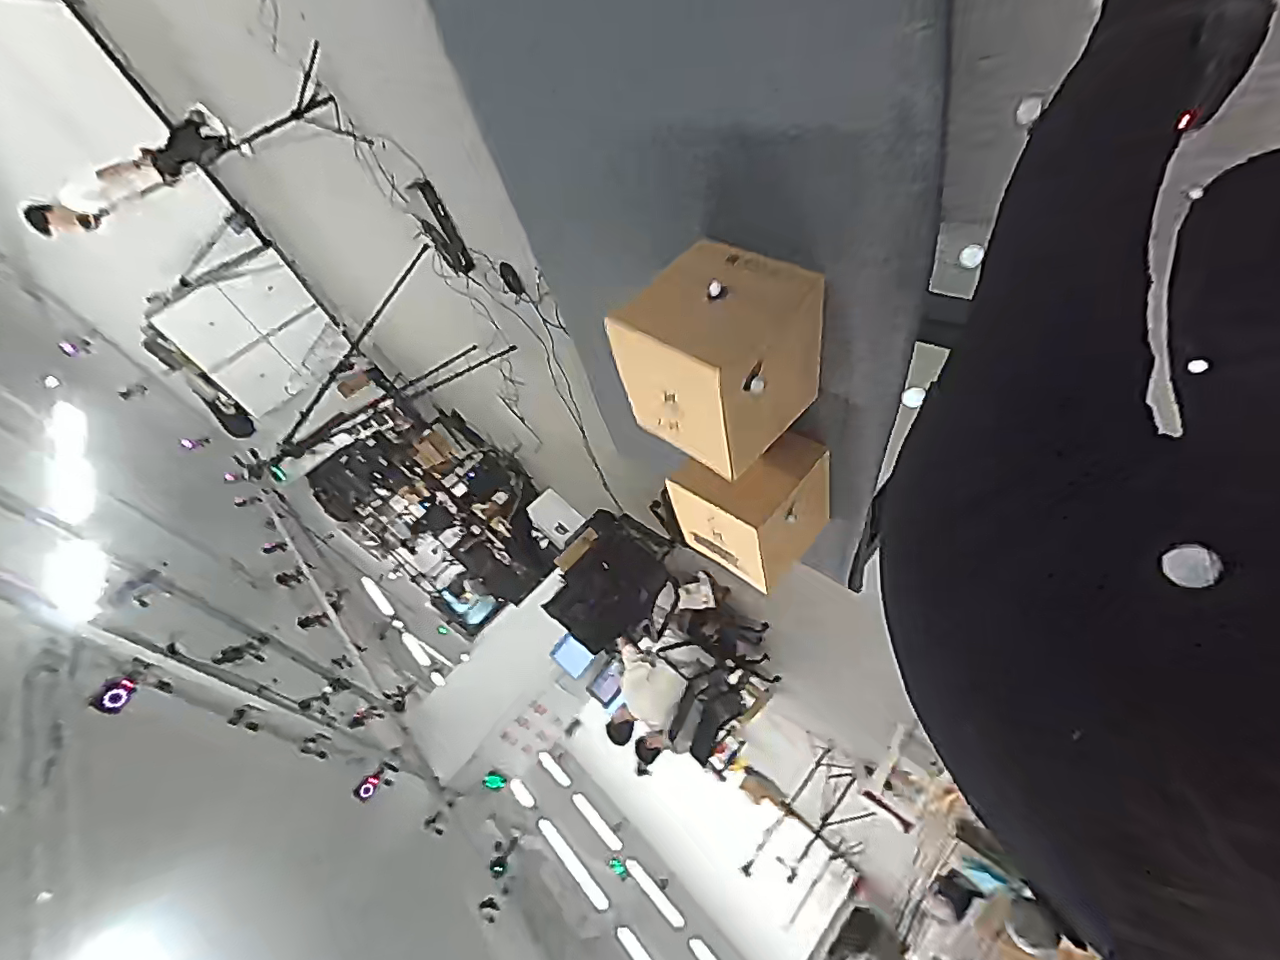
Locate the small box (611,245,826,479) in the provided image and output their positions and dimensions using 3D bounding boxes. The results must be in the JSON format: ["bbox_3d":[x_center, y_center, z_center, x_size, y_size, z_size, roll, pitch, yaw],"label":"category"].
[{"bbox_3d":[0.097,-0.142,0.631,0.168,0.176,0.179,36,159,33],"label":"small box"}]
